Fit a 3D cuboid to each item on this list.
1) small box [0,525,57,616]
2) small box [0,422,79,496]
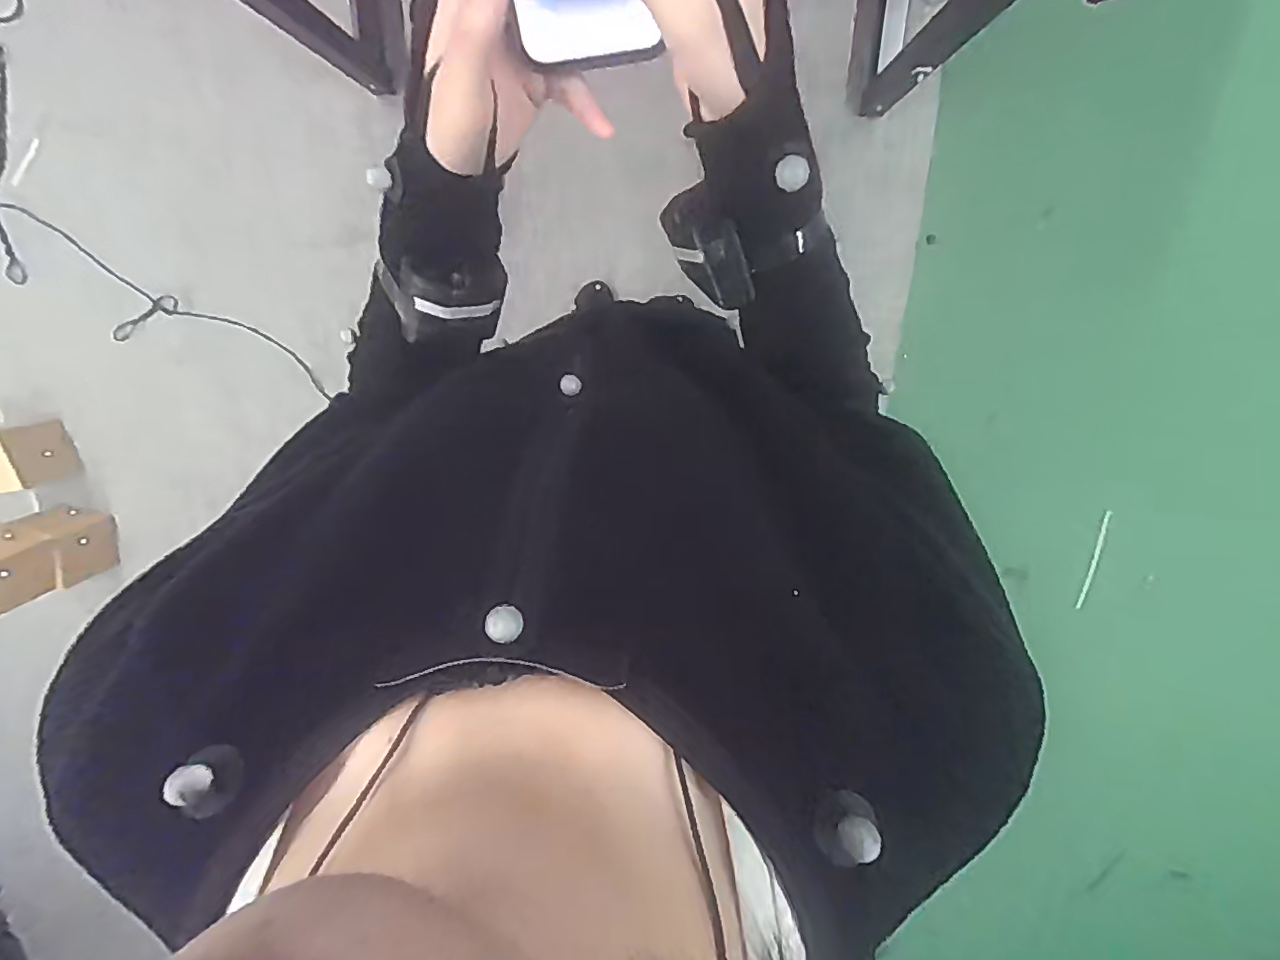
[{"bbox_3d":[-1.720,0.246,1.440,0.168,0.176,0.179,18,107,-3],"label":"small box"},{"bbox_3d":[-1.739,-0.060,1.508,0.179,0.176,0.168,-5,108,4],"label":"small box"}]
